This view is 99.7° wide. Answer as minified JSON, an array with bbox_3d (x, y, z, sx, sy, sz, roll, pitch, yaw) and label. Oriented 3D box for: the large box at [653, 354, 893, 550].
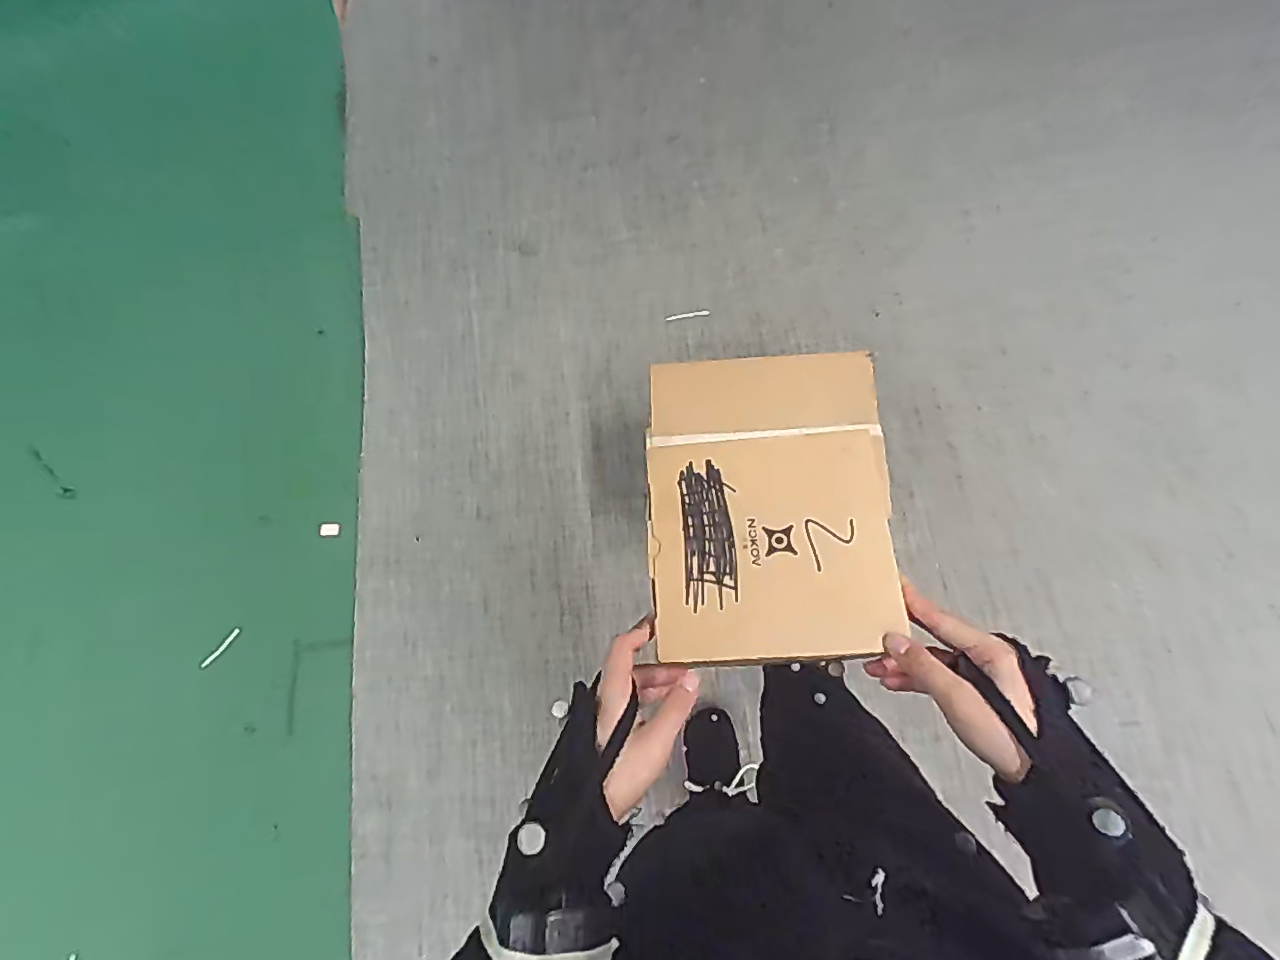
[{"bbox_3d":[0.239,-0.035,1.107,0.408,0.320,0.320,-2,77,5],"label":"large box"}]
